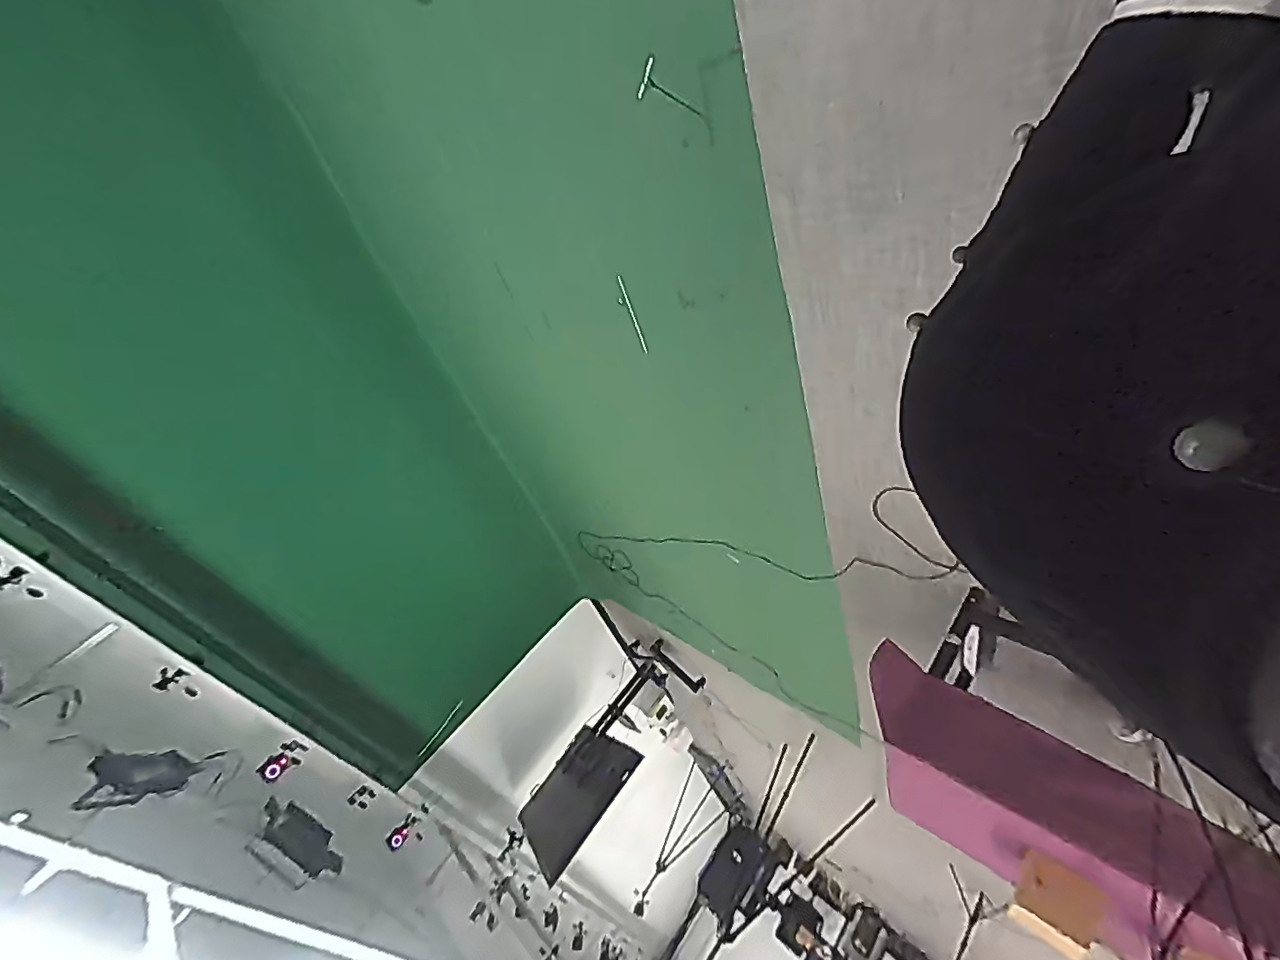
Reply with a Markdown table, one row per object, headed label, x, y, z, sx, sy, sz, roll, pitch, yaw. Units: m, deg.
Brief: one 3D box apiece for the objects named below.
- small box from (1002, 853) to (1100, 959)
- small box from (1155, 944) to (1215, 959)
| label | x | y | z | sx | sy | sz | roll | pitch | yaw |
| --- | --- | --- | --- | --- | --- | --- | --- | --- | --- |
| small box | 1.178 | 1.214 | 1.554 | 0.179 | 0.176 | 0.168 | 21 | 145 | 40 |
| small box | 1.417 | 1.309 | 1.343 | 0.179 | 0.176 | 0.168 | 28 | 149 | 33 |
